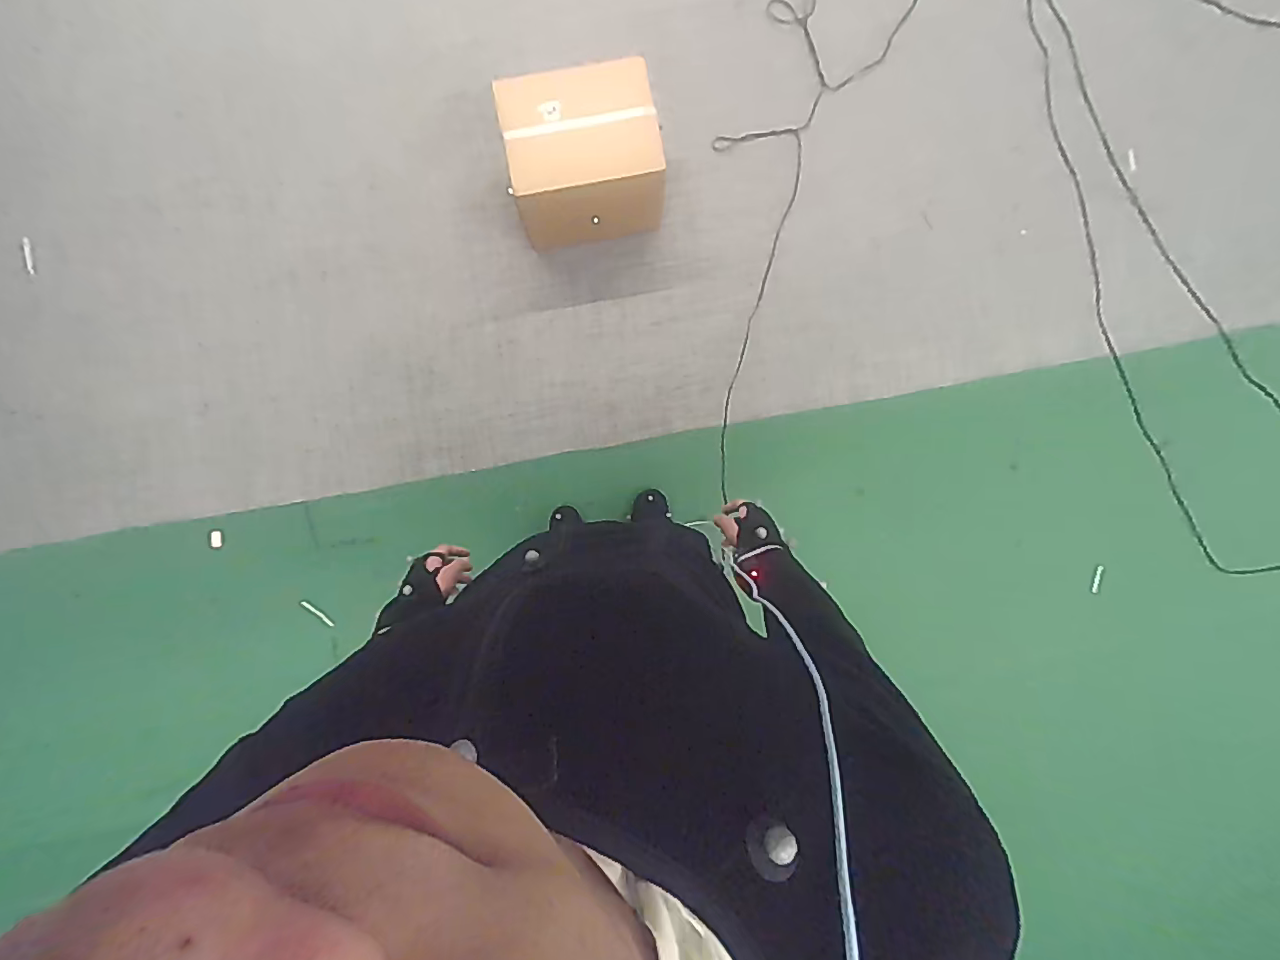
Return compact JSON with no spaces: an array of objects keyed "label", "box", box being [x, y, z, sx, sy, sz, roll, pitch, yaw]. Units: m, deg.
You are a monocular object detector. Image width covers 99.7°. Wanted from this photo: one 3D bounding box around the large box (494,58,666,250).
[{"label":"large box","box":[-0.156,-0.910,1.554,0.408,0.320,0.320,-12,88,-1]}]
